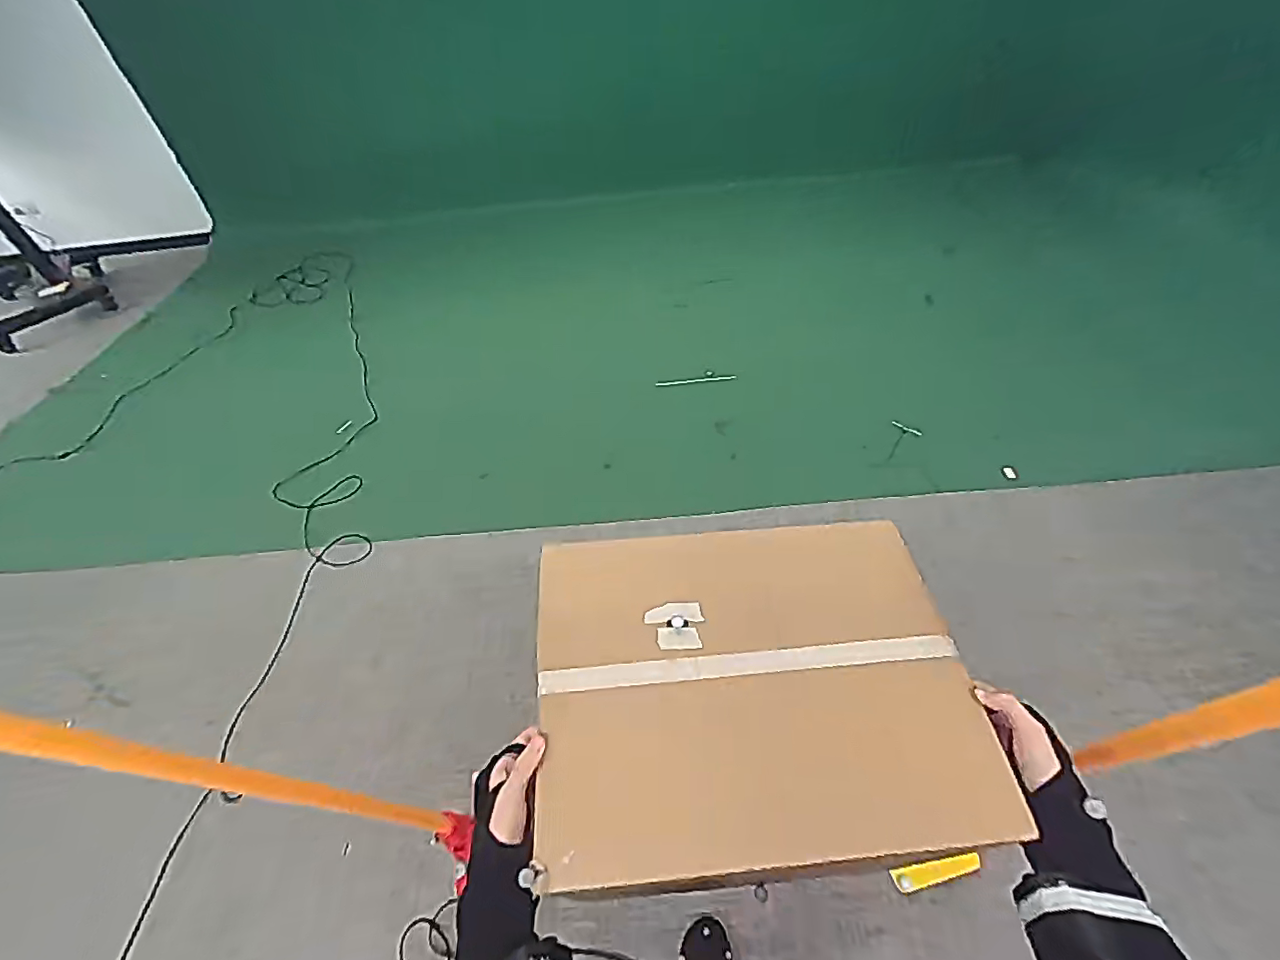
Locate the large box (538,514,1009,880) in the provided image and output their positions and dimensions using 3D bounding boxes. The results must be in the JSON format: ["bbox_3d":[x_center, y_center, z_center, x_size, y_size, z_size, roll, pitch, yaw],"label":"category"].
[{"bbox_3d":[0.104,0.267,0.649,0.408,0.320,0.320,-5,52,-3],"label":"large box"}]
